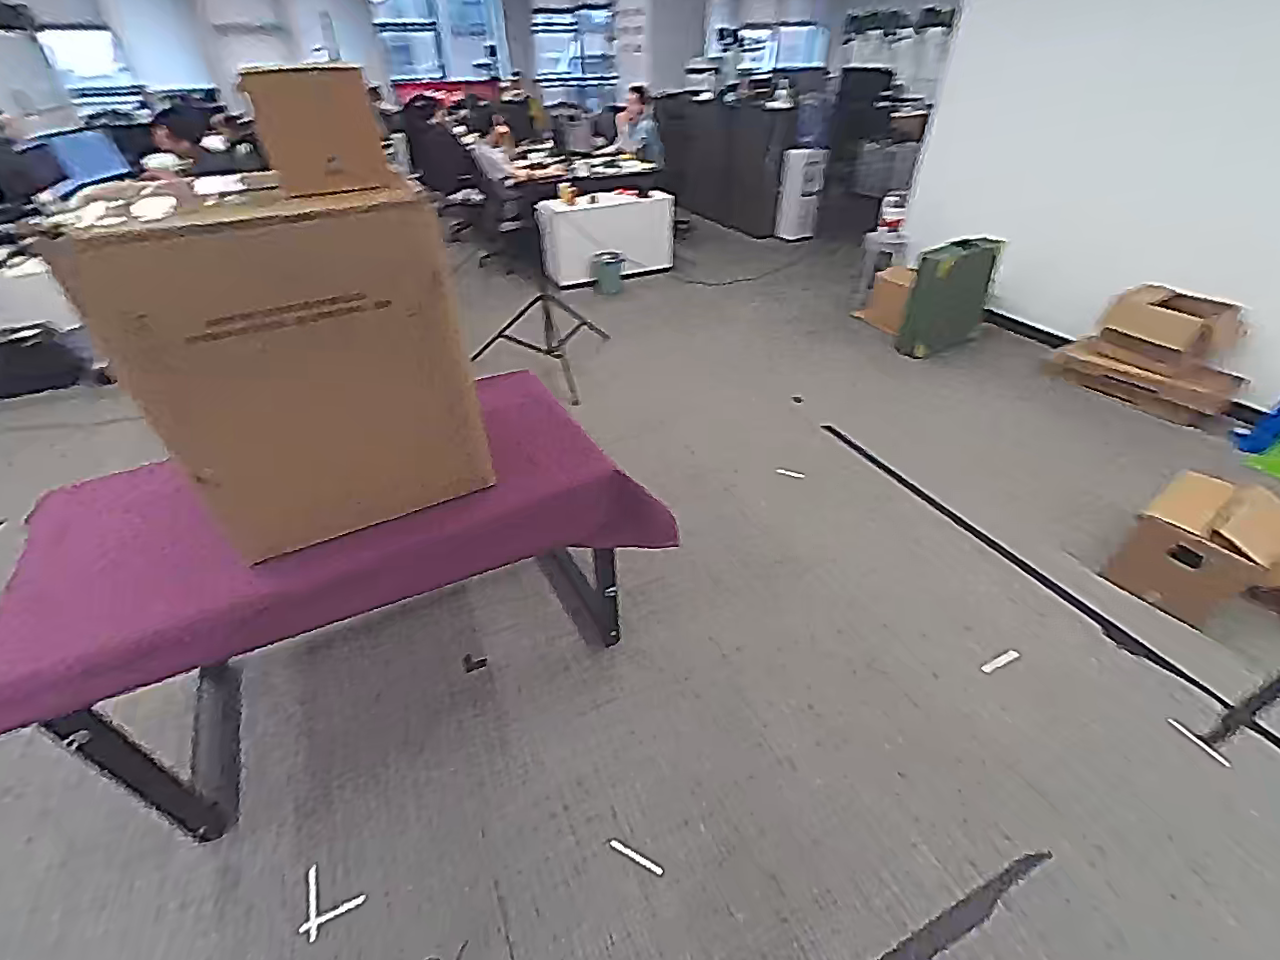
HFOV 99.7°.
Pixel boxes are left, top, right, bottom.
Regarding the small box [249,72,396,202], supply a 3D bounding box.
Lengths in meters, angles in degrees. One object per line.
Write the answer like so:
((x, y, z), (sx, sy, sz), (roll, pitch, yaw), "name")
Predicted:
((-0.534, -0.590, 0.928), (0.179, 0.176, 0.168), (-18, 42, -21), "small box")
